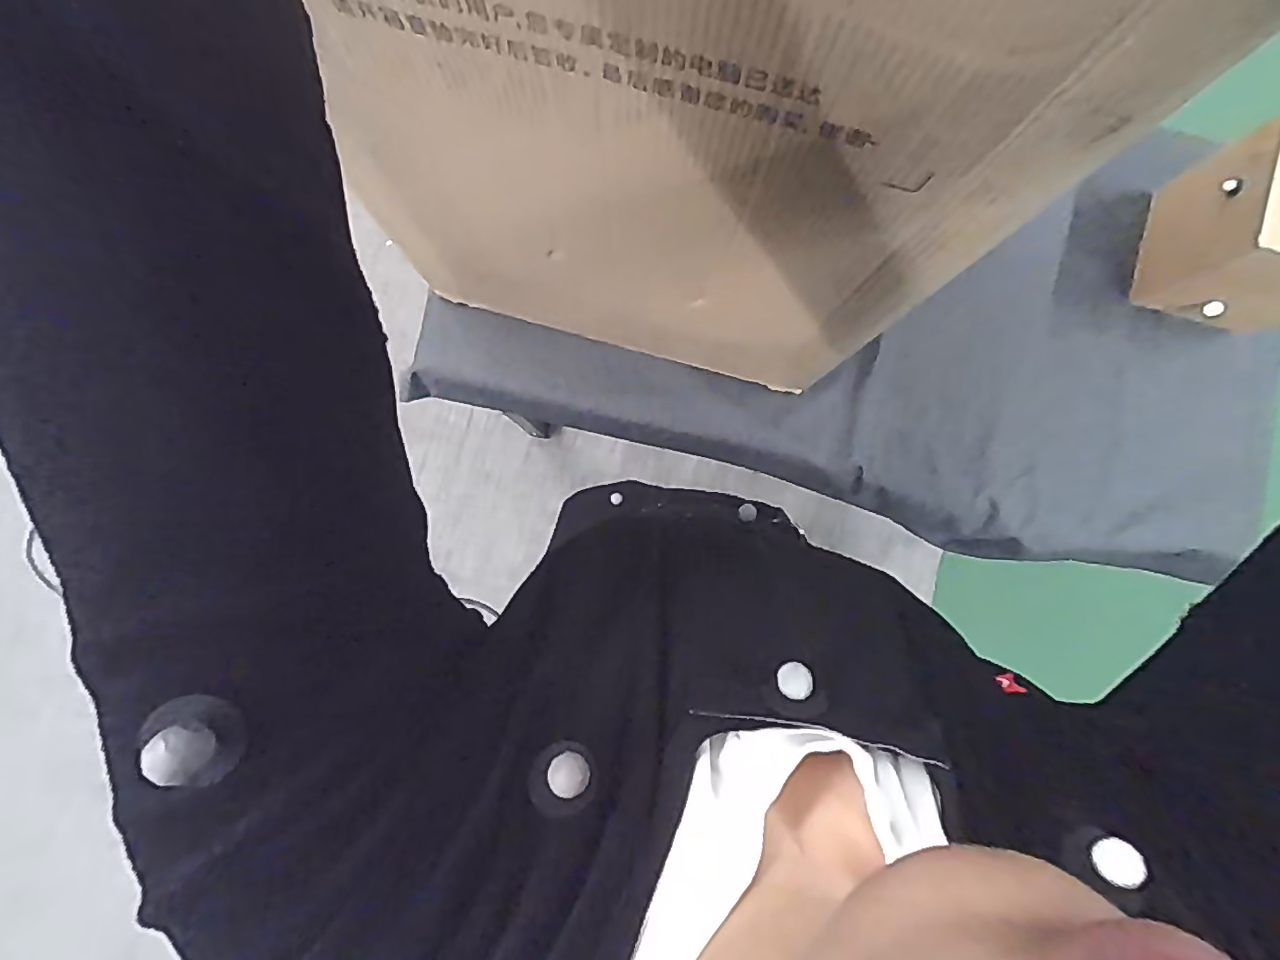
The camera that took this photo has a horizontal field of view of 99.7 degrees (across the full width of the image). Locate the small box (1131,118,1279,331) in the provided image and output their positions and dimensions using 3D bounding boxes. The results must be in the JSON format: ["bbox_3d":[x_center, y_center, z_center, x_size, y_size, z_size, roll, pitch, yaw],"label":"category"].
[{"bbox_3d":[0.808,-0.324,0.711,0.168,0.176,0.179,17,87,0],"label":"small box"}]
